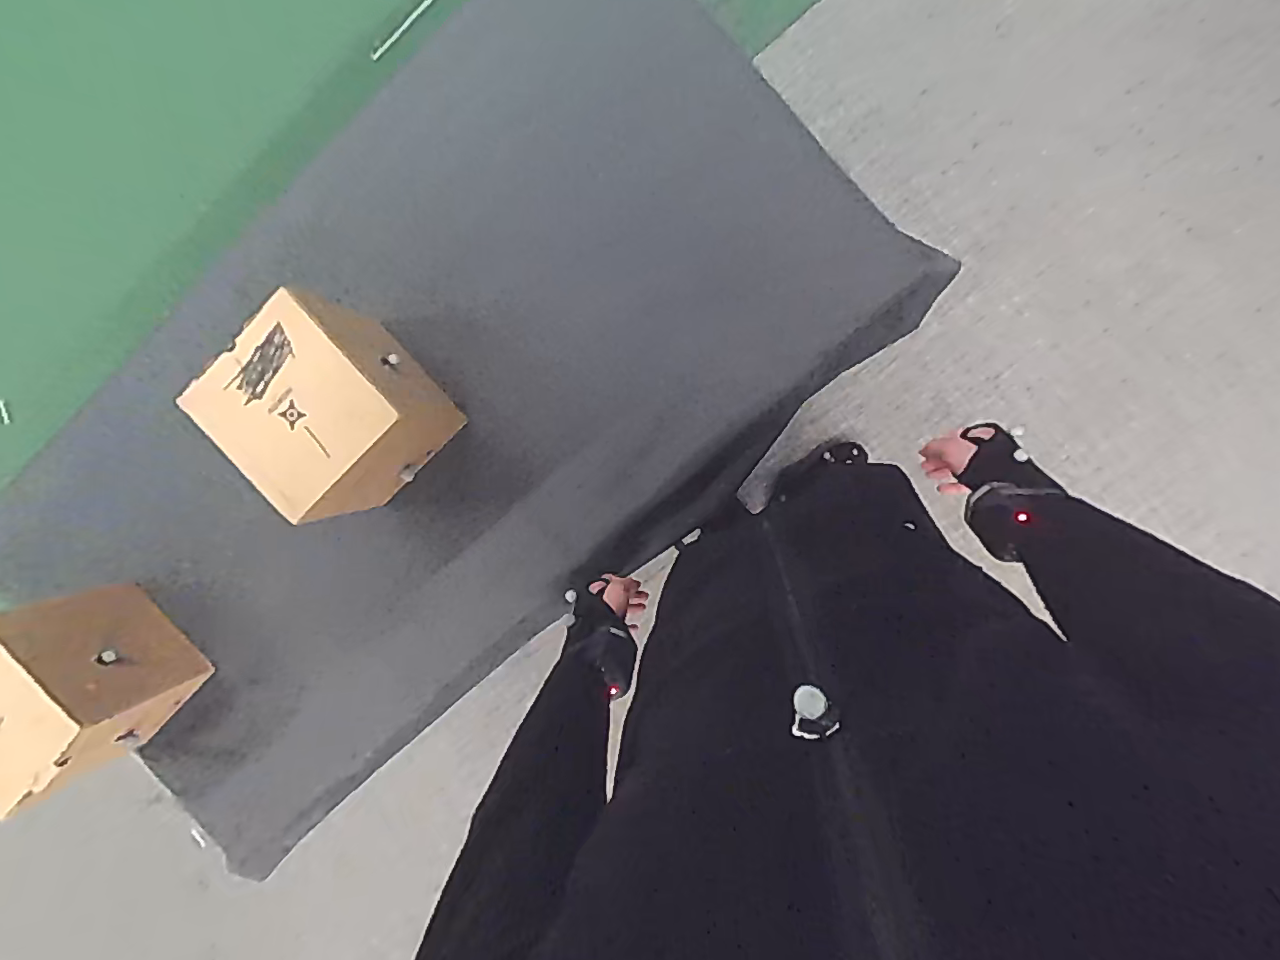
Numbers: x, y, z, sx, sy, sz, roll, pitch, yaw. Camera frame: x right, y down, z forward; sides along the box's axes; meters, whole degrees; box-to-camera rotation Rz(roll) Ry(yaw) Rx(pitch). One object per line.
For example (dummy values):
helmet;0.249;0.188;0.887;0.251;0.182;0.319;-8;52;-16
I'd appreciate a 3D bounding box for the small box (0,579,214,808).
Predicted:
small box;-0.705;0.251;0.683;0.168;0.176;0.179;-45;90;7

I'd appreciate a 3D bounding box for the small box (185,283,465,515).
small box;-0.340;-0.085;0.619;0.168;0.176;0.179;-43;91;8
